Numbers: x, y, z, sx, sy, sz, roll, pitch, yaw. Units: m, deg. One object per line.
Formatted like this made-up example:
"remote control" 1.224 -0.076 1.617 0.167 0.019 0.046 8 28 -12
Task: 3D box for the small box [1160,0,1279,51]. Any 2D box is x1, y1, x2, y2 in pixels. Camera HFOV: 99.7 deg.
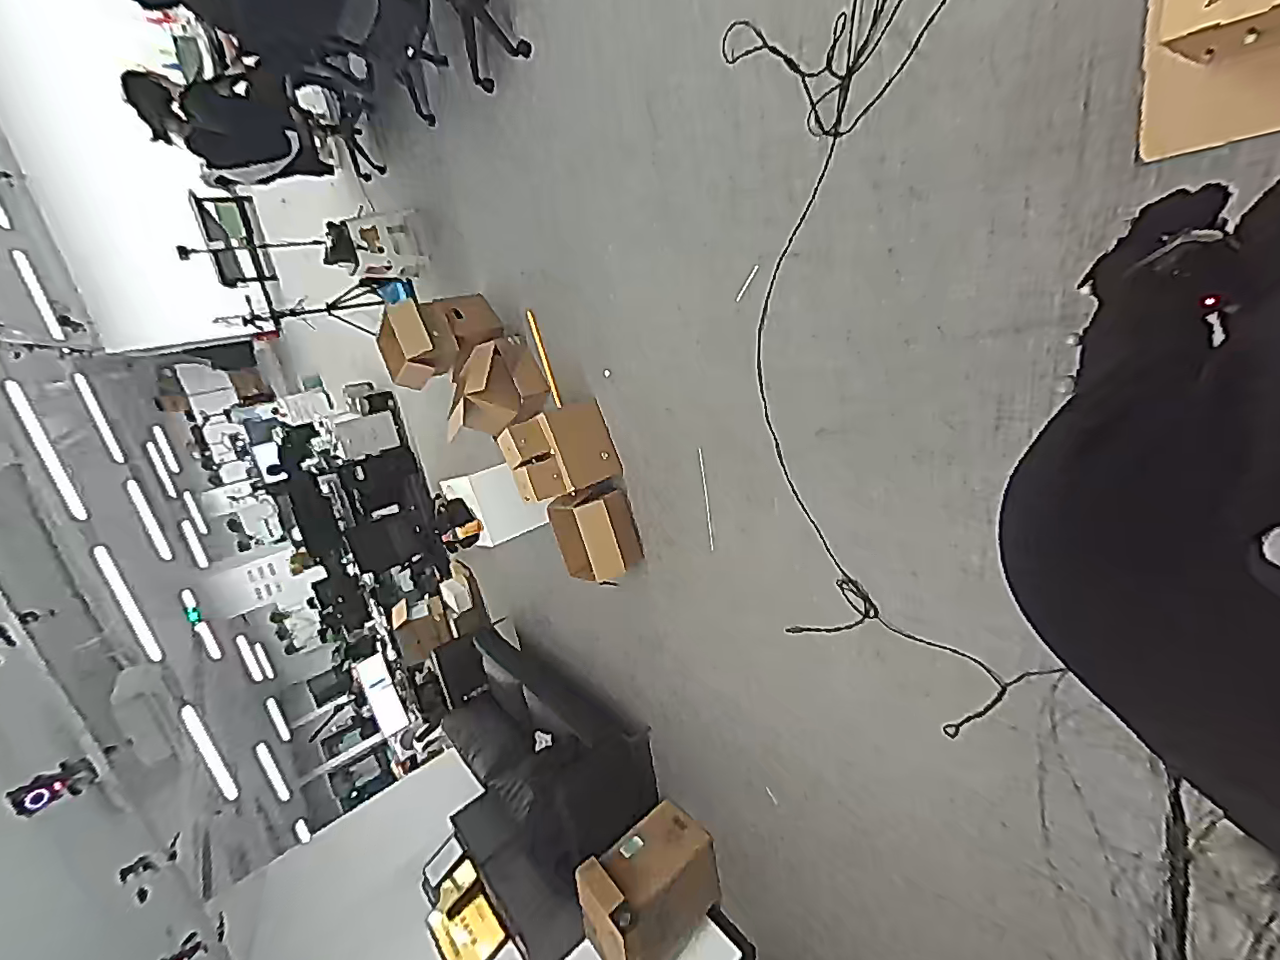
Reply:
"small box" 0.823 -0.703 0.707 0.168 0.176 0.179 16 122 50
